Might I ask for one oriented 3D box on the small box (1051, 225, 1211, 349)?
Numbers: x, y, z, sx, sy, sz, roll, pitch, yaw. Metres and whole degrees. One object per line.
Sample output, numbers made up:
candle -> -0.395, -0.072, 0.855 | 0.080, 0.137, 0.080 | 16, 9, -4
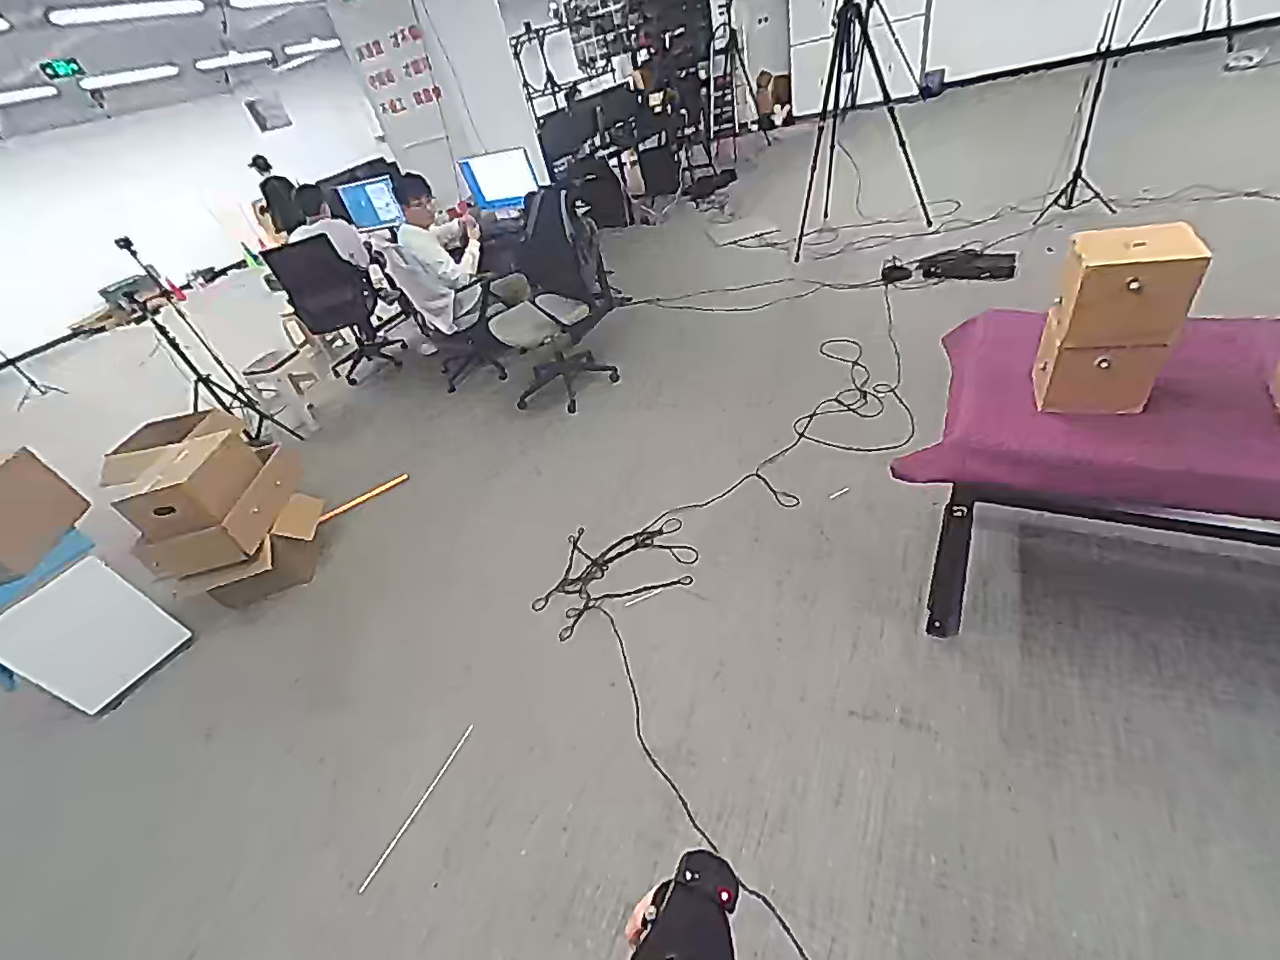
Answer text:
small box -> 0.925, -0.366, 1.039 | 0.179, 0.176, 0.168 | 4, 44, 25

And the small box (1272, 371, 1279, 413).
small box -> 1.275, -0.183, 0.948 | 0.168, 0.176, 0.179 | 11, 46, 31

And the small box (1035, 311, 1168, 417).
small box -> 0.958, -0.248, 1.144 | 0.179, 0.176, 0.168 | 7, 44, 26
